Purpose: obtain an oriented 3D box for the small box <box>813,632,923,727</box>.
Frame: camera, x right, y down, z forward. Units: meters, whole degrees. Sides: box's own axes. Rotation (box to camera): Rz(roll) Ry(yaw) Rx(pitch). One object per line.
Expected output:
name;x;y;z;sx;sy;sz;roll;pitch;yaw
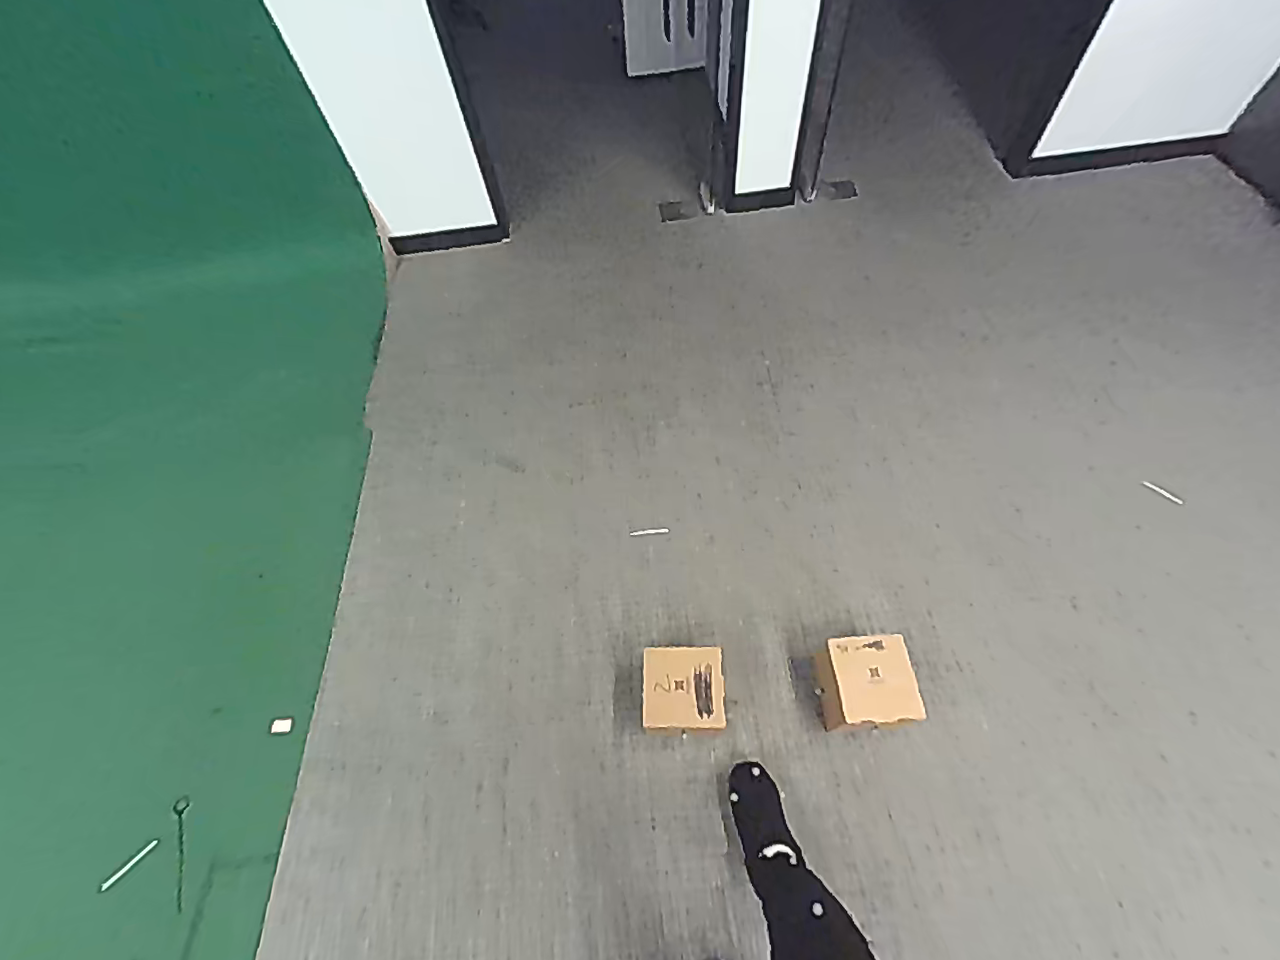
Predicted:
small box;0.501;0.454;1.216;0.168;0.176;0.179;-4;59;2
